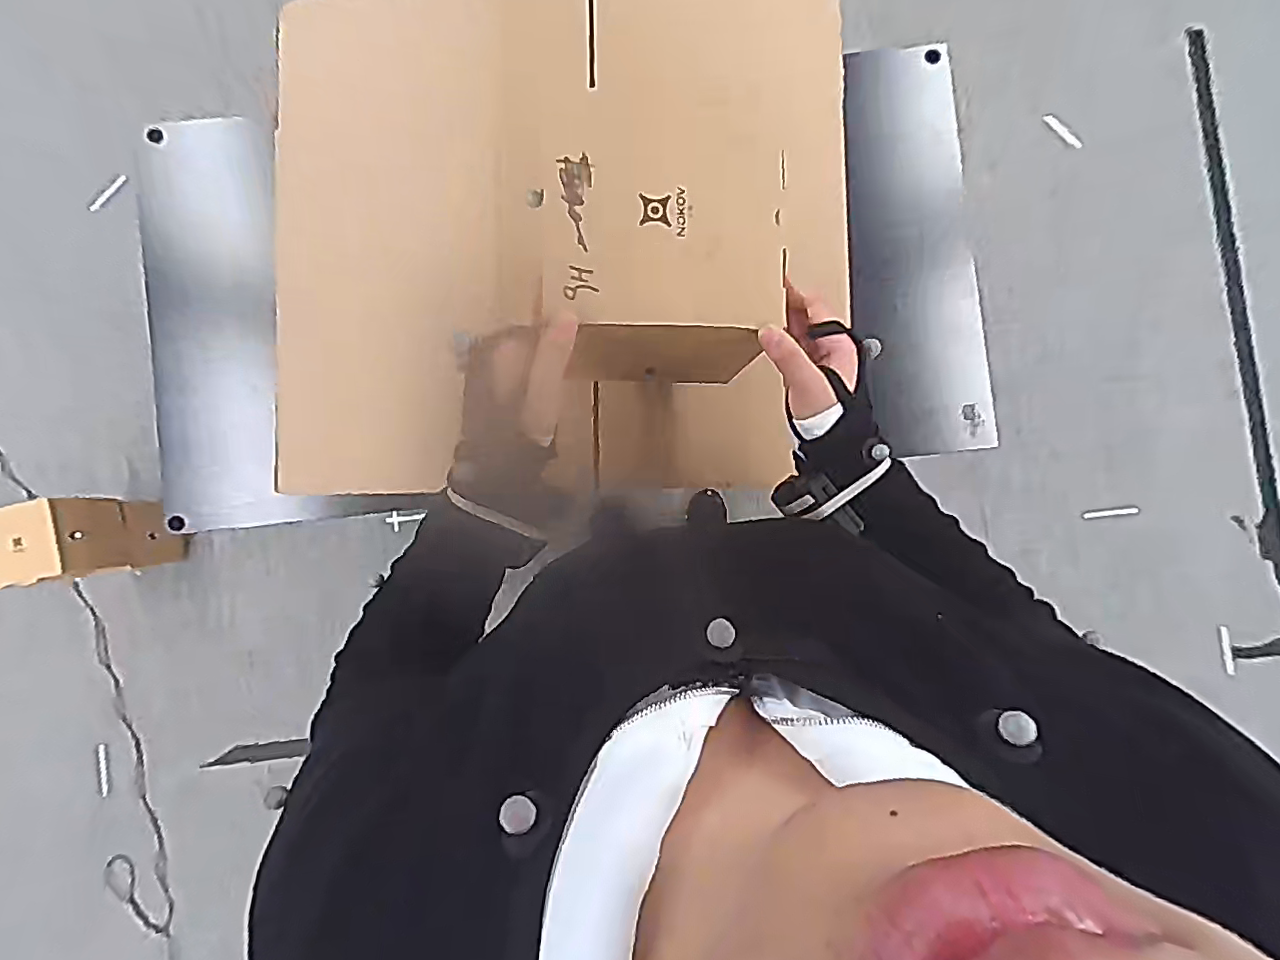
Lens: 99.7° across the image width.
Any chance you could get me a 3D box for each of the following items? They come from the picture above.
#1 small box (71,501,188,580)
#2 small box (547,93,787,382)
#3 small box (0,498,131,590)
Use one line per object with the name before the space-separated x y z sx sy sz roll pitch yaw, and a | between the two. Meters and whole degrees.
small box | -1.347 0.153 1.424 0.168 0.176 0.179 -10 89 0
small box | 0.012 -0.187 0.468 0.179 0.176 0.168 0 85 -7
small box | -1.348 0.142 1.261 0.168 0.176 0.179 -13 88 -1
